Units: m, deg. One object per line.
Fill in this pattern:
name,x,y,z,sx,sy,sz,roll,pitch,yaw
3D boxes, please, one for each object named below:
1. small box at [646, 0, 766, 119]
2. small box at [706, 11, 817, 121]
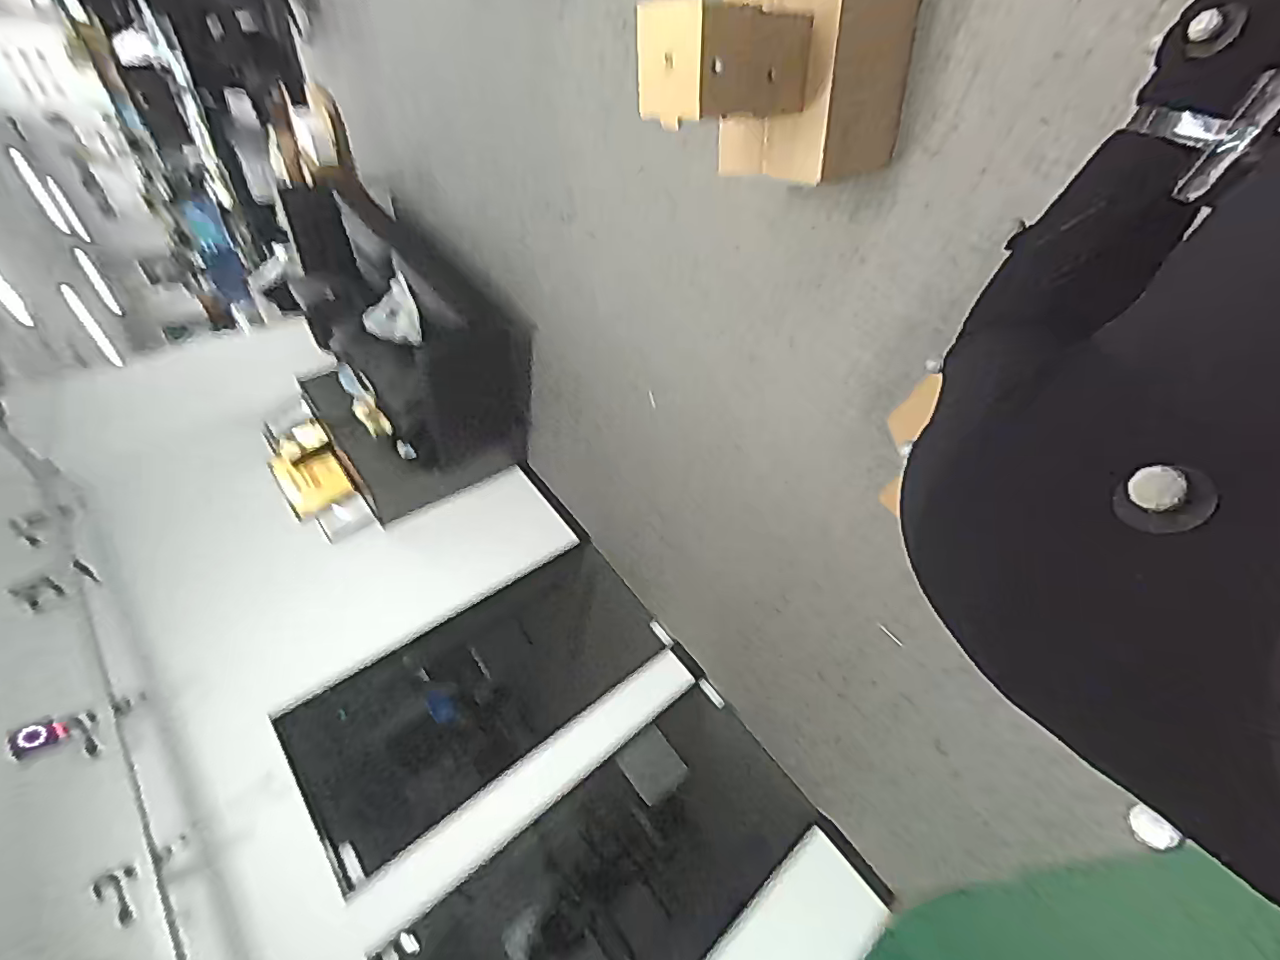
small box,0.129,-0.816,1.055,0.168,0.176,0.179,32,140,38
small box,0.252,-0.874,1.146,0.168,0.176,0.179,32,139,38
